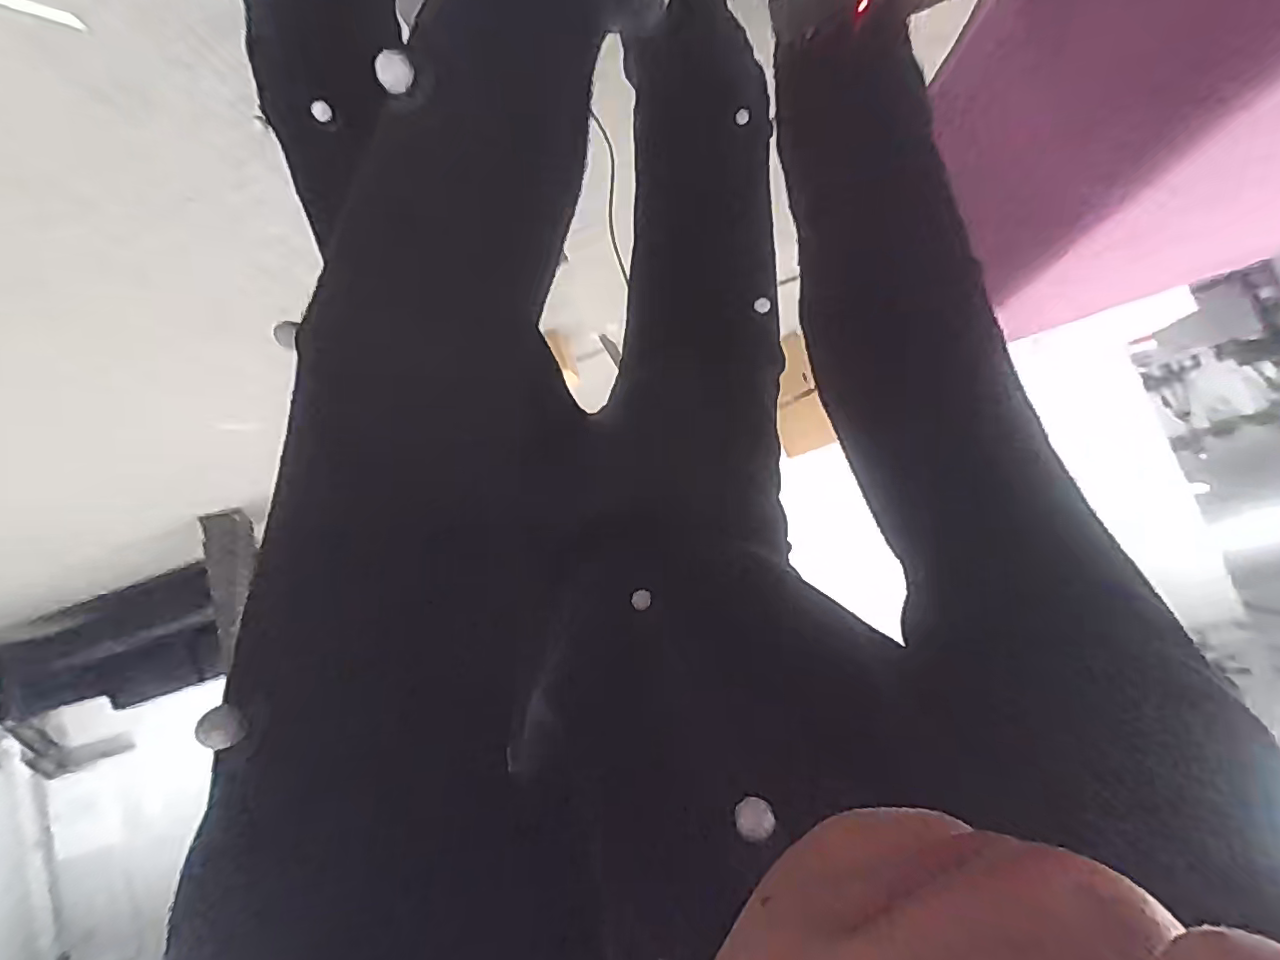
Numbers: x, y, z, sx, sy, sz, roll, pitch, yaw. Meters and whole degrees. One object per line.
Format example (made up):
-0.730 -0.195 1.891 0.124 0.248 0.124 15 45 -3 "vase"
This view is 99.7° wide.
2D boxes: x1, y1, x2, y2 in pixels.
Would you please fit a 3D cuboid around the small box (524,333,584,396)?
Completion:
-0.344 -0.455 2.136 0.179 0.176 0.168 -19 172 9 "small box"
